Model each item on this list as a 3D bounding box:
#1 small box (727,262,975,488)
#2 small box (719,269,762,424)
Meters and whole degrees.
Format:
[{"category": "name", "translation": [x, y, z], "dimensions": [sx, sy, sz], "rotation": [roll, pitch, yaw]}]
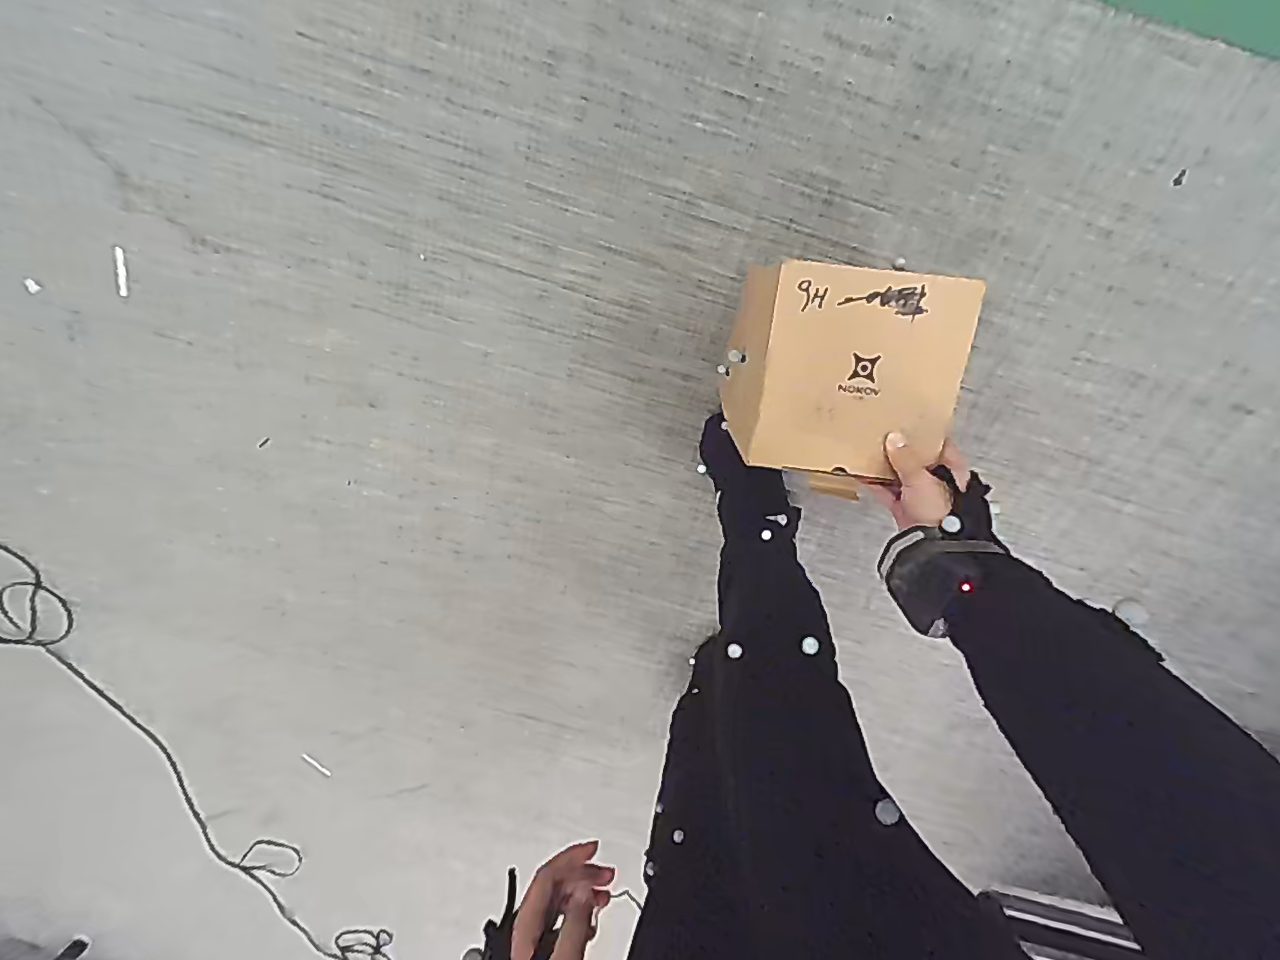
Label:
[{"category": "small box", "translation": [0.184, -0.109, 0.537], "dimensions": [0.168, 0.176, 0.179], "rotation": [7, 108, 1]}, {"category": "small box", "translation": [0.201, -0.165, 0.702], "dimensions": [0.168, 0.176, 0.179], "rotation": [10, 115, -1]}]
